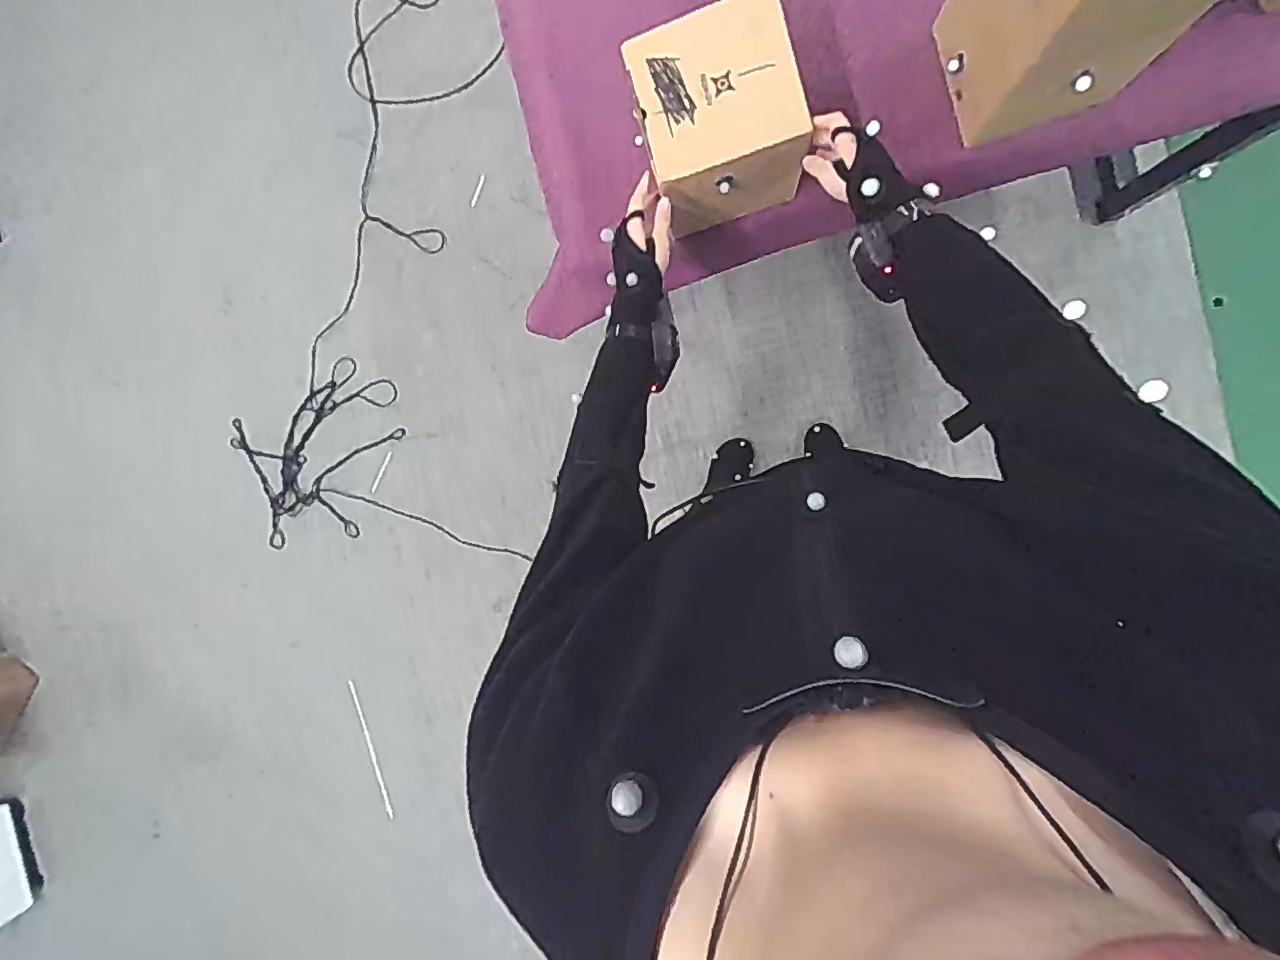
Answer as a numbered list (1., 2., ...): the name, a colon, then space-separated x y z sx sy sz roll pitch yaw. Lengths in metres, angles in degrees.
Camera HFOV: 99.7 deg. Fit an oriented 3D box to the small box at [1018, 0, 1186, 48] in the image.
1. small box: 0.432 -0.509 0.432 0.179 0.176 0.168 -14 89 12
